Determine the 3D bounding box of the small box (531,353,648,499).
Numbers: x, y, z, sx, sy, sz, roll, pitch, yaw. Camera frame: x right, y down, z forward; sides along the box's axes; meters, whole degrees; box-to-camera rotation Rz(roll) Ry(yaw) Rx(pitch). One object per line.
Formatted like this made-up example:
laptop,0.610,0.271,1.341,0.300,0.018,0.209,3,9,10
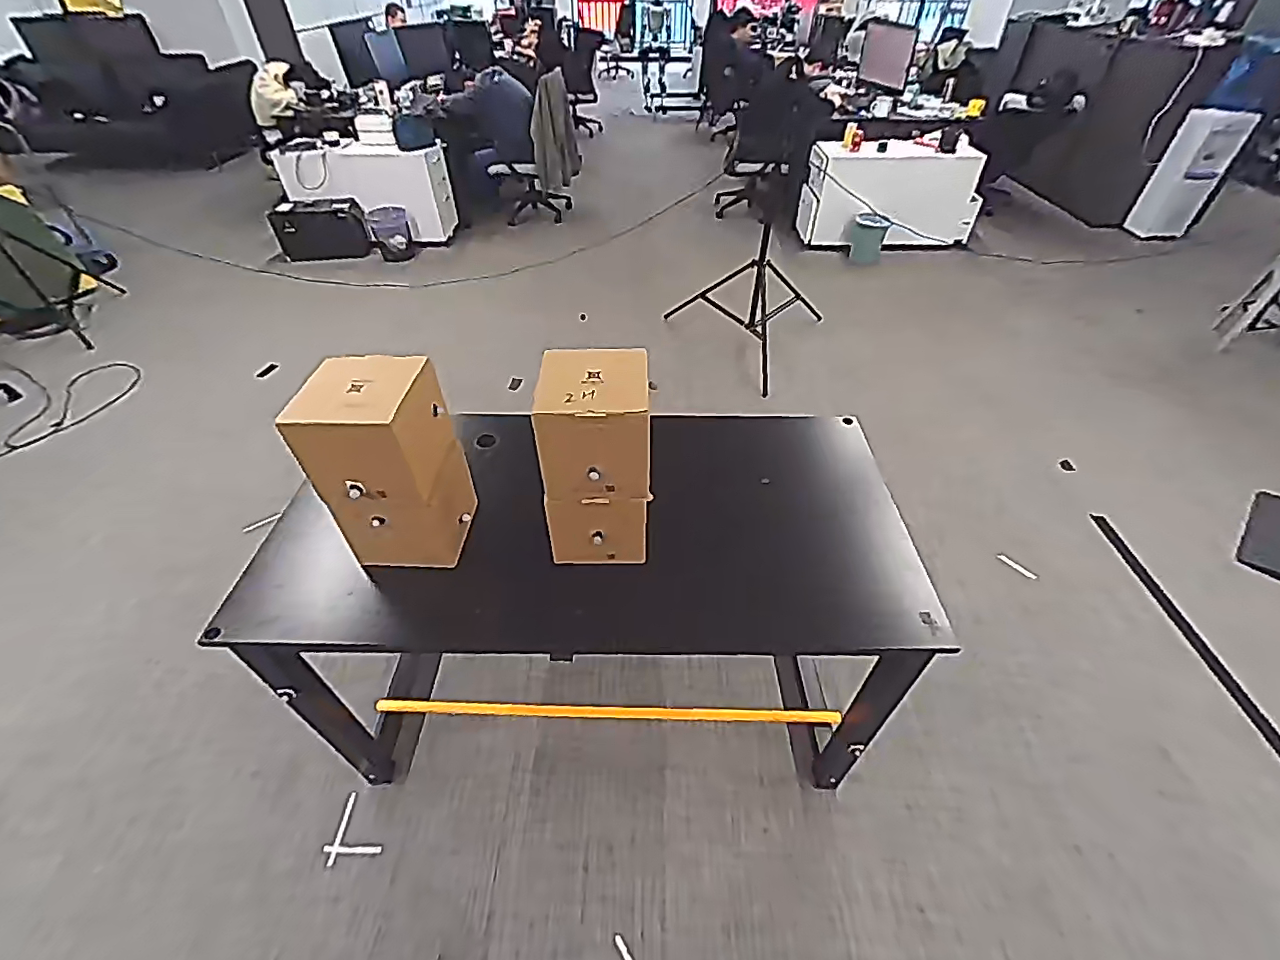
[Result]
small box,-0.072,-0.088,0.872,0.168,0.176,0.179,-1,43,0

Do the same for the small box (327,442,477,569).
small box,-0.413,0.044,0.972,0.179,0.176,0.168,2,44,1

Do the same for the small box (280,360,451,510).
small box,-0.415,-0.073,0.859,0.168,0.176,0.179,0,44,2

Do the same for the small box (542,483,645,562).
small box,-0.075,0.036,0.982,0.168,0.176,0.179,-1,44,0
